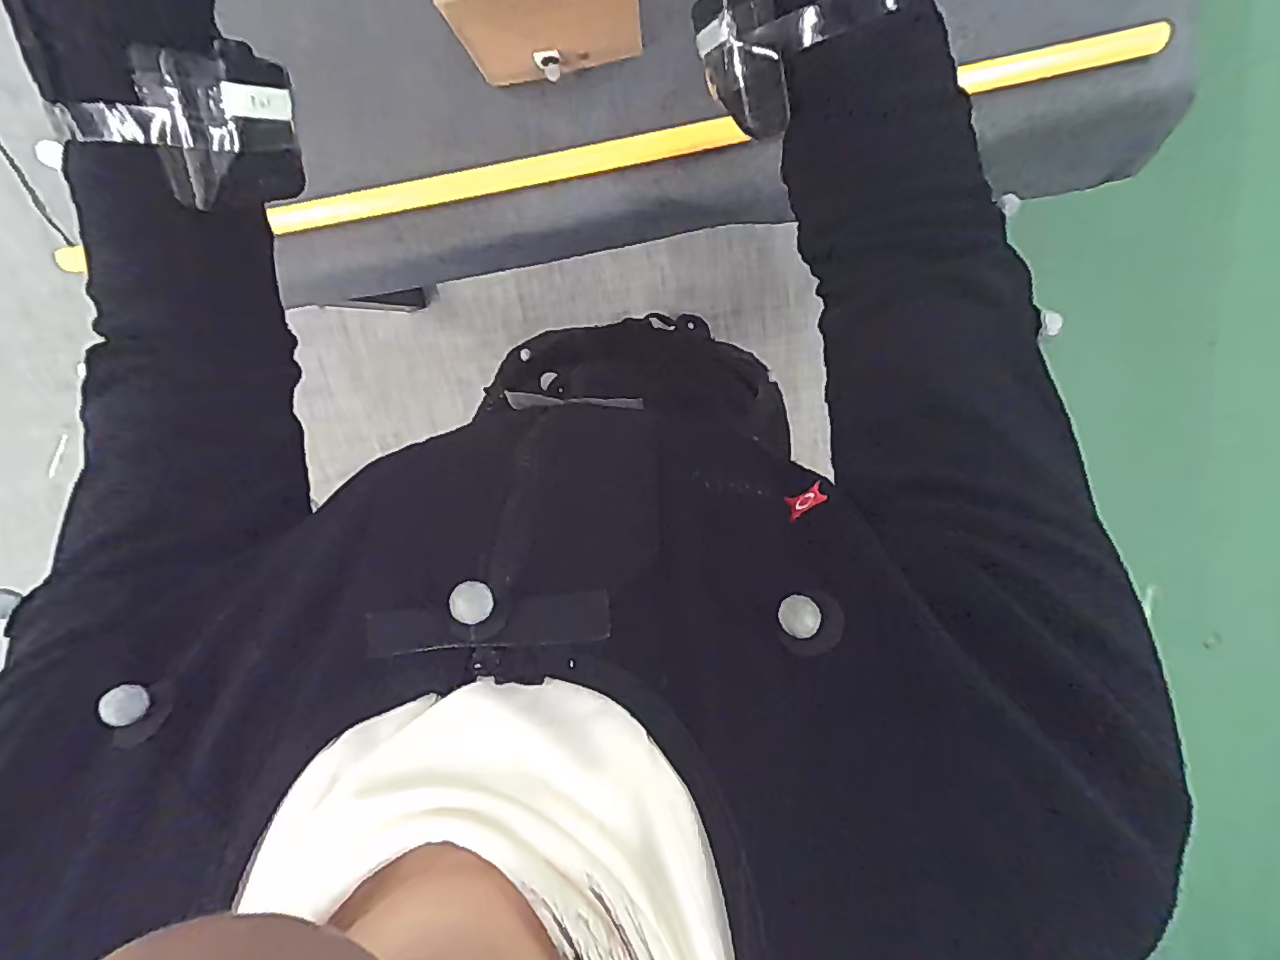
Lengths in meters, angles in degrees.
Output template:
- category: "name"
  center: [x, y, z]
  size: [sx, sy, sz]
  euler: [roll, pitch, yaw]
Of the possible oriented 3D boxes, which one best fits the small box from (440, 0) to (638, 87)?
- category: "small box"
  center: [-0.099, -0.499, 0.482]
  size: [0.168, 0.176, 0.179]
  euler: [-10, 106, 5]
